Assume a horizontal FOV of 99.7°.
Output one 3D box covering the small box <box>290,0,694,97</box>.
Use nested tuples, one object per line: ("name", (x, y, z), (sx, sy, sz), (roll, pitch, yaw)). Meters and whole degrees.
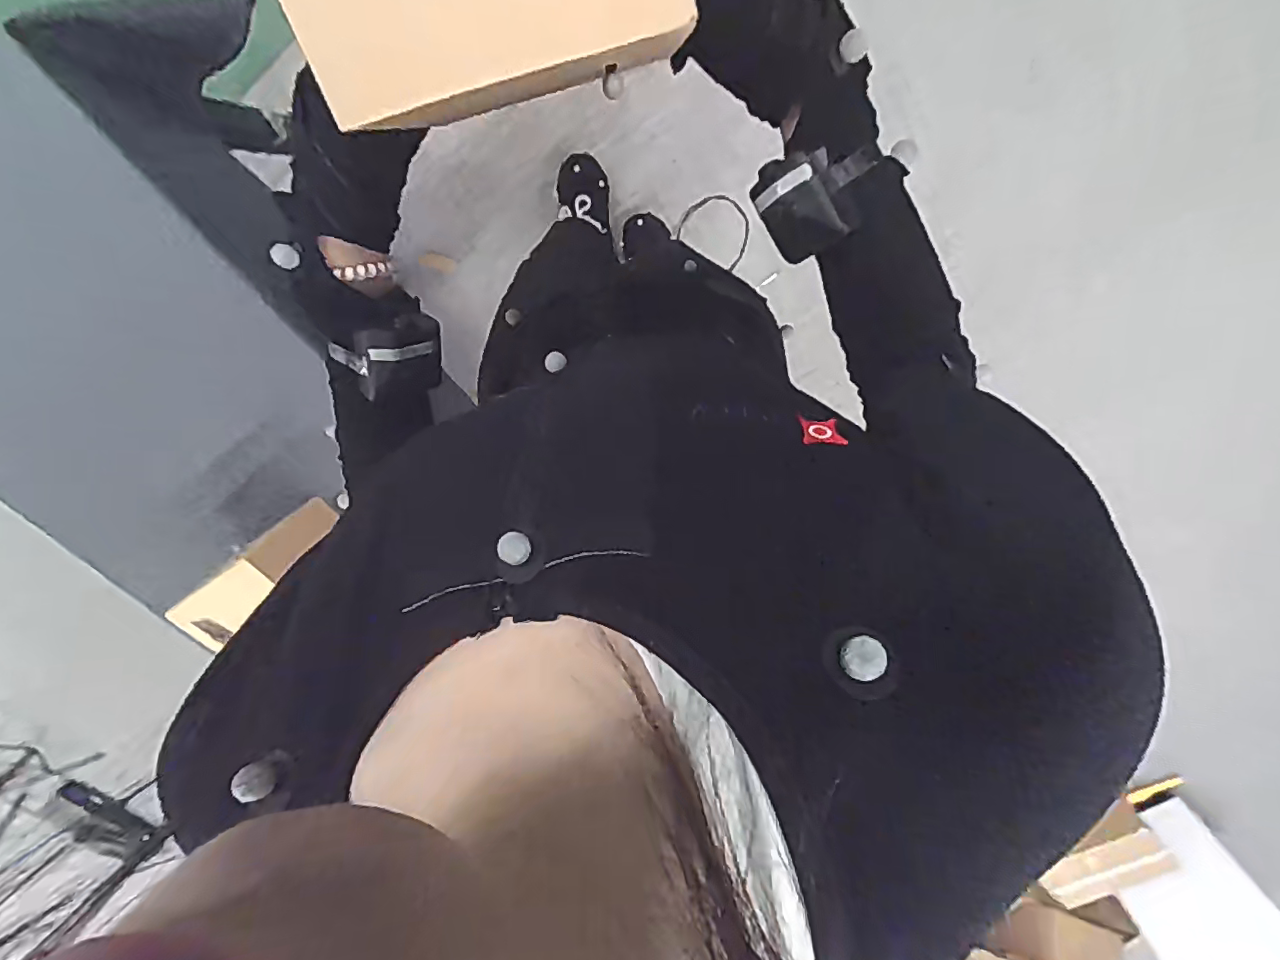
("small box", (-0.078, -0.304, 0.263), (0.179, 0.176, 0.168), (-11, 123, 5))

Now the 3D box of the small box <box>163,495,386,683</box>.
("small box", (-0.517, 0.154, 0.794), (0.179, 0.176, 0.168), (-30, 112, 16))
